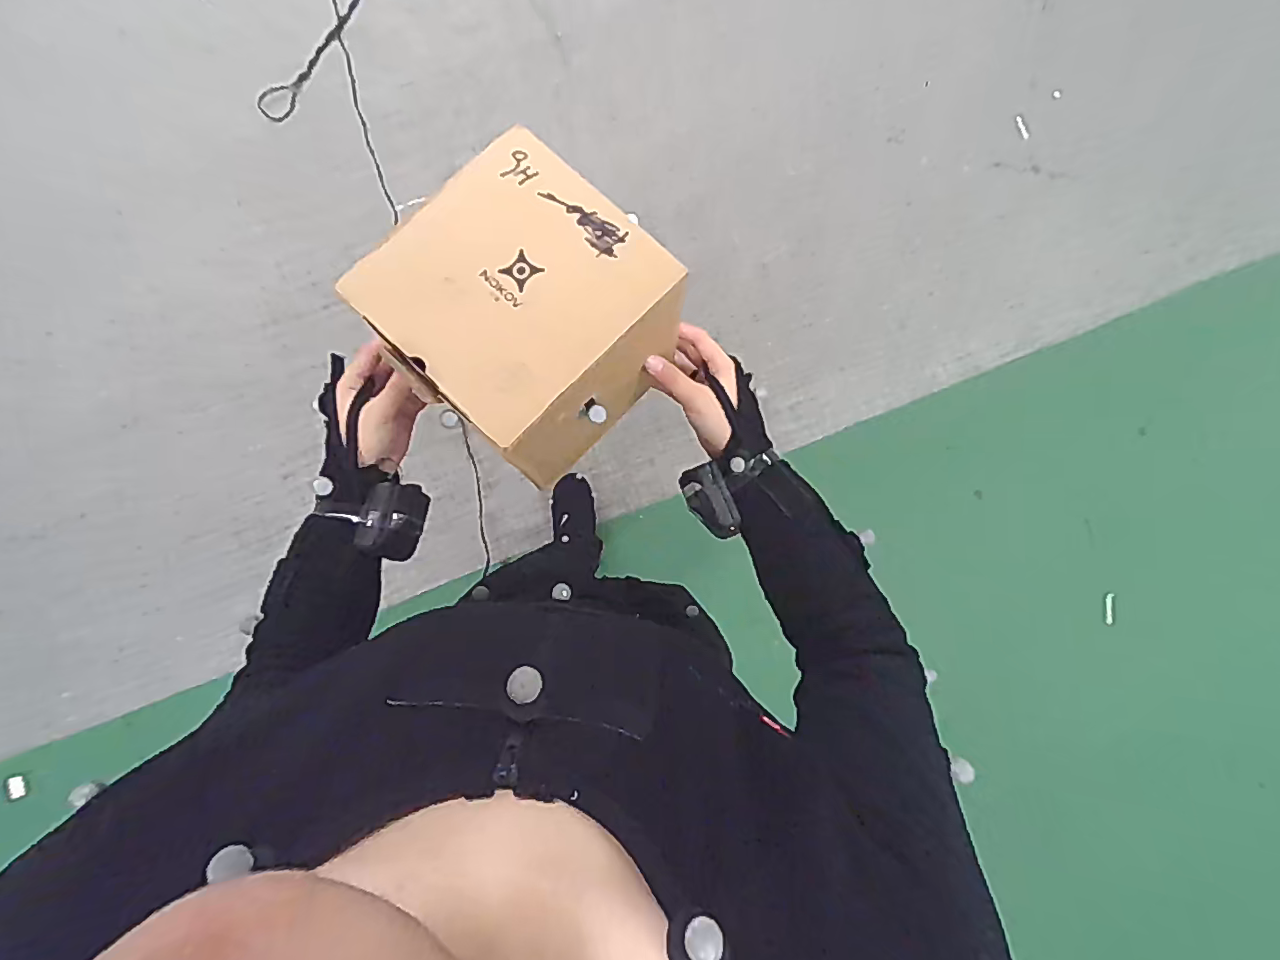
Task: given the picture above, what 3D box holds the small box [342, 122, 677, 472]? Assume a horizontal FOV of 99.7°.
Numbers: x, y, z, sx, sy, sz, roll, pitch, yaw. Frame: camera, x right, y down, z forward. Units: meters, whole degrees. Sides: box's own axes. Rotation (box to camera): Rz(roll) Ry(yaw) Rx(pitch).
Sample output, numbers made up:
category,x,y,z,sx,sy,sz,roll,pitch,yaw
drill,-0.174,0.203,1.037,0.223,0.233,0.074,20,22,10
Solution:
category,x,y,z,sx,sy,sz,roll,pitch,yaw
small box,-0.087,-0.127,0.445,0.168,0.176,0.179,43,83,6
